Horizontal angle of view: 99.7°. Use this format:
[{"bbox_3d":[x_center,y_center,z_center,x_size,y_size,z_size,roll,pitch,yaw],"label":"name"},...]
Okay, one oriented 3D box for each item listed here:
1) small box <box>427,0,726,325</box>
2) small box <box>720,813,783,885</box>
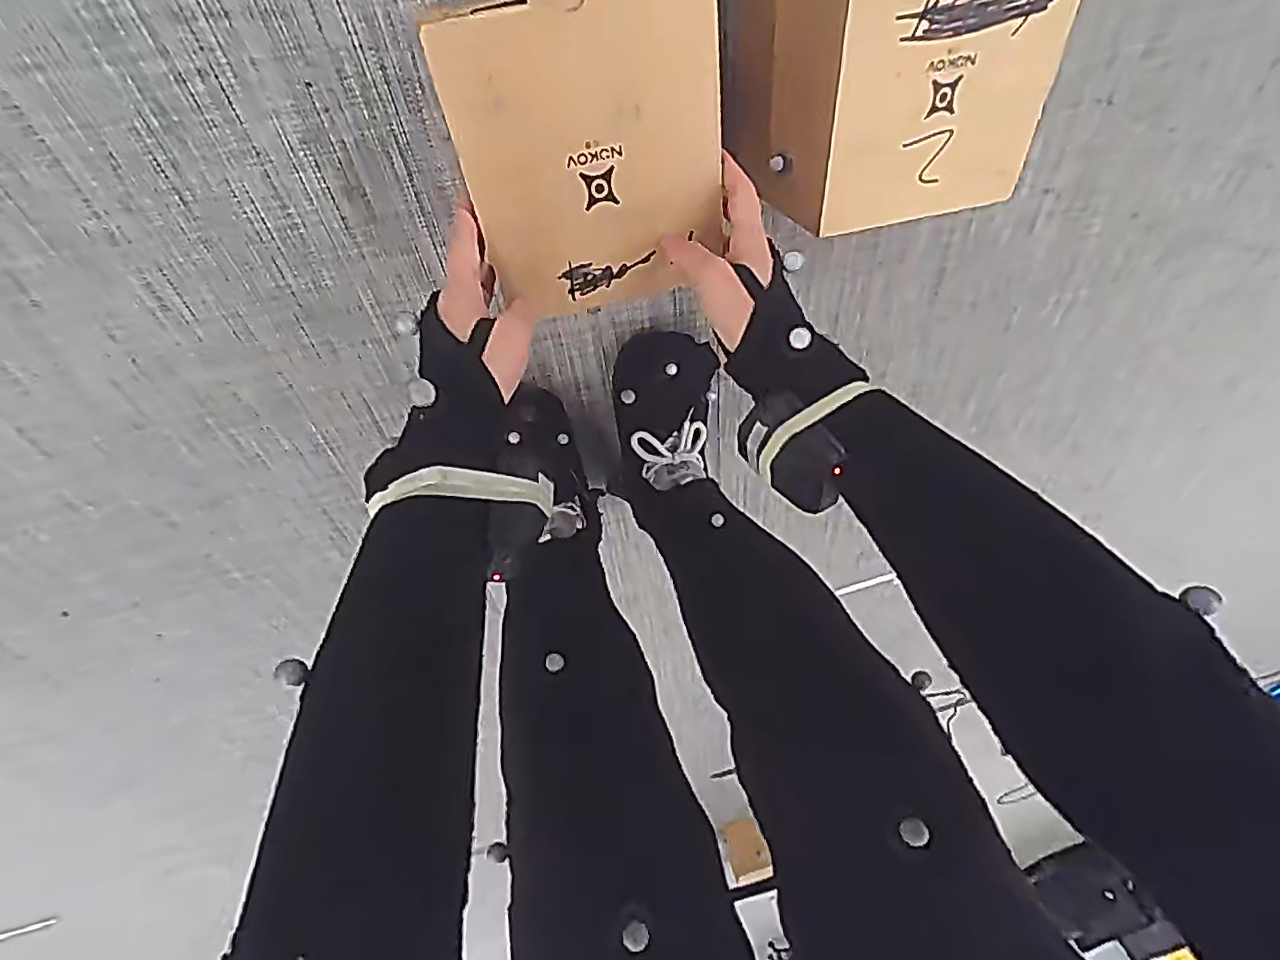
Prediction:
[{"bbox_3d":[-0.044,-0.246,0.399,0.168,0.176,0.179,-15,134,-5],"label":"small box"},{"bbox_3d":[0.414,1.383,2.031,0.179,0.176,0.168,-12,132,-6],"label":"small box"}]
